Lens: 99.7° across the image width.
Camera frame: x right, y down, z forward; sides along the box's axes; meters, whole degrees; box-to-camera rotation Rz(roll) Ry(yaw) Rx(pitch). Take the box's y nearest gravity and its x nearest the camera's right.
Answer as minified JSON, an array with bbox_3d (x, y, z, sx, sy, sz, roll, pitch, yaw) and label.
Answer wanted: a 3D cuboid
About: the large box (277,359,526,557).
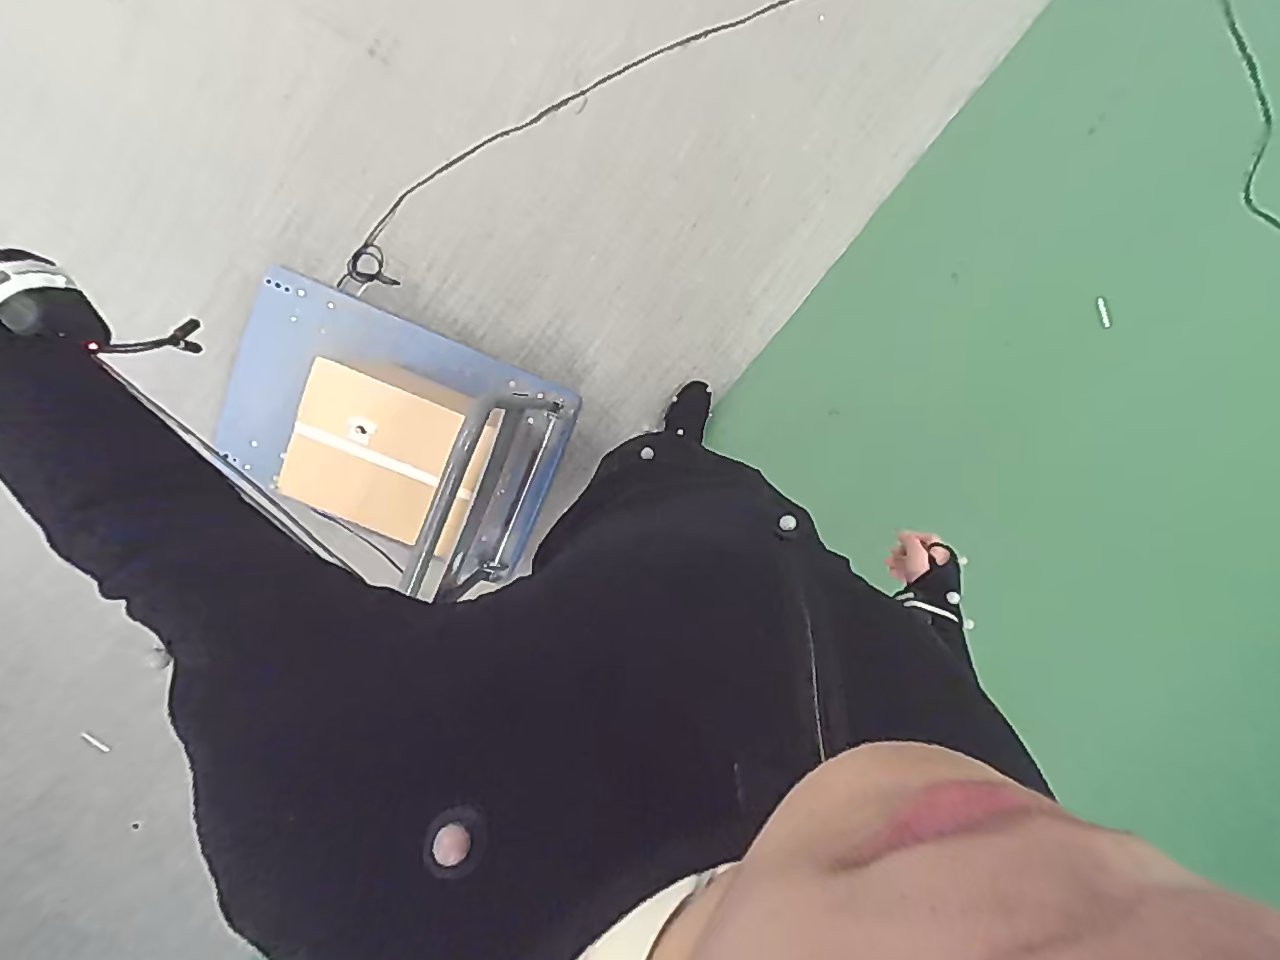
[{"bbox_3d":[-0.535,-0.065,1.285,0.408,0.320,0.320,22,98,-2],"label":"large box"}]
